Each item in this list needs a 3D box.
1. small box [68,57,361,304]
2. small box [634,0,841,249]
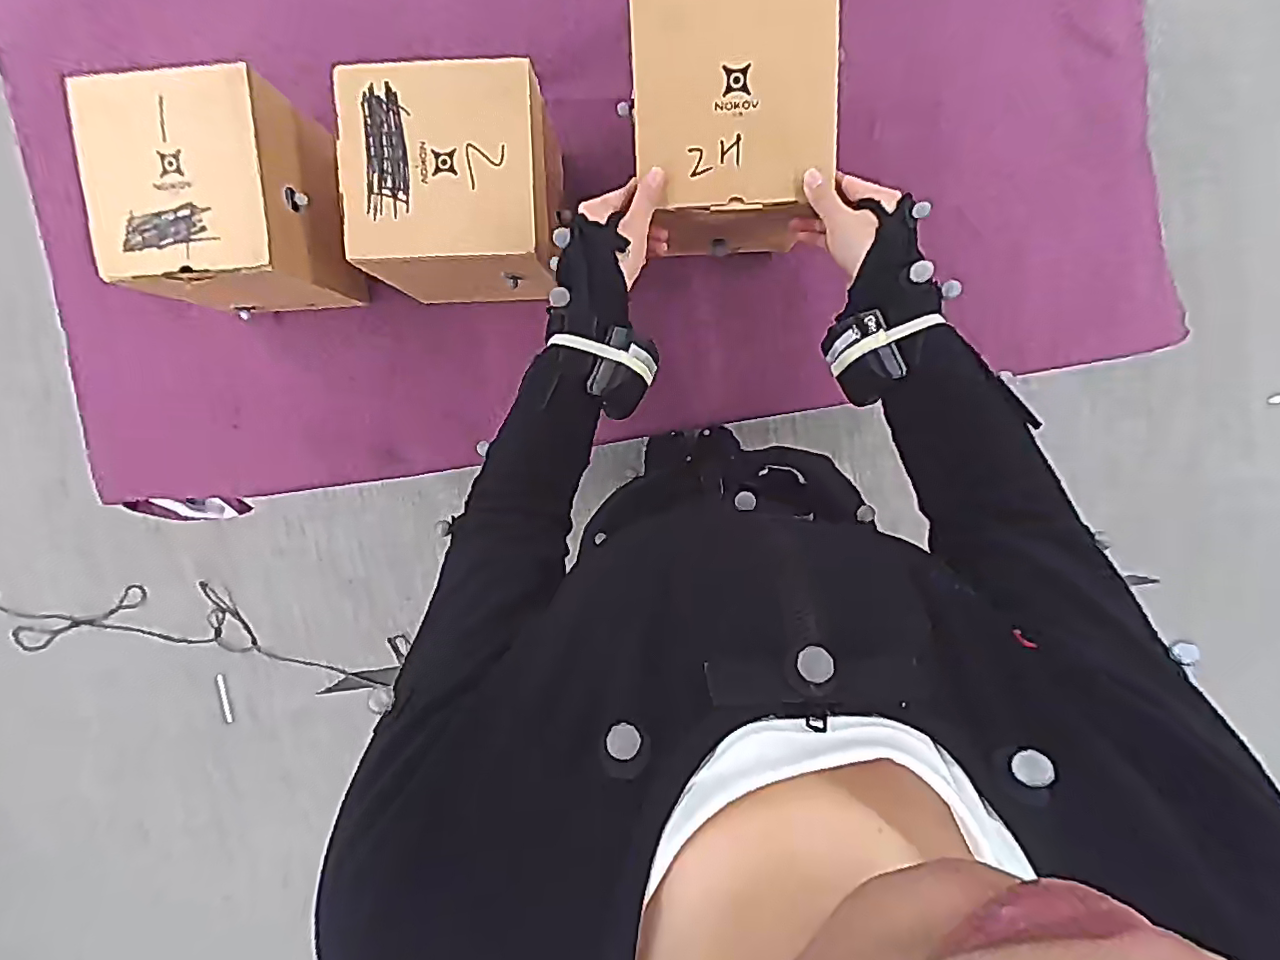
[{"bbox_3d":[-0.415,-0.287,0.561,0.168,0.176,0.179,-3,96,2],"label":"small box"},{"bbox_3d":[0.078,-0.333,0.512,0.168,0.176,0.179,-2,101,2],"label":"small box"}]
